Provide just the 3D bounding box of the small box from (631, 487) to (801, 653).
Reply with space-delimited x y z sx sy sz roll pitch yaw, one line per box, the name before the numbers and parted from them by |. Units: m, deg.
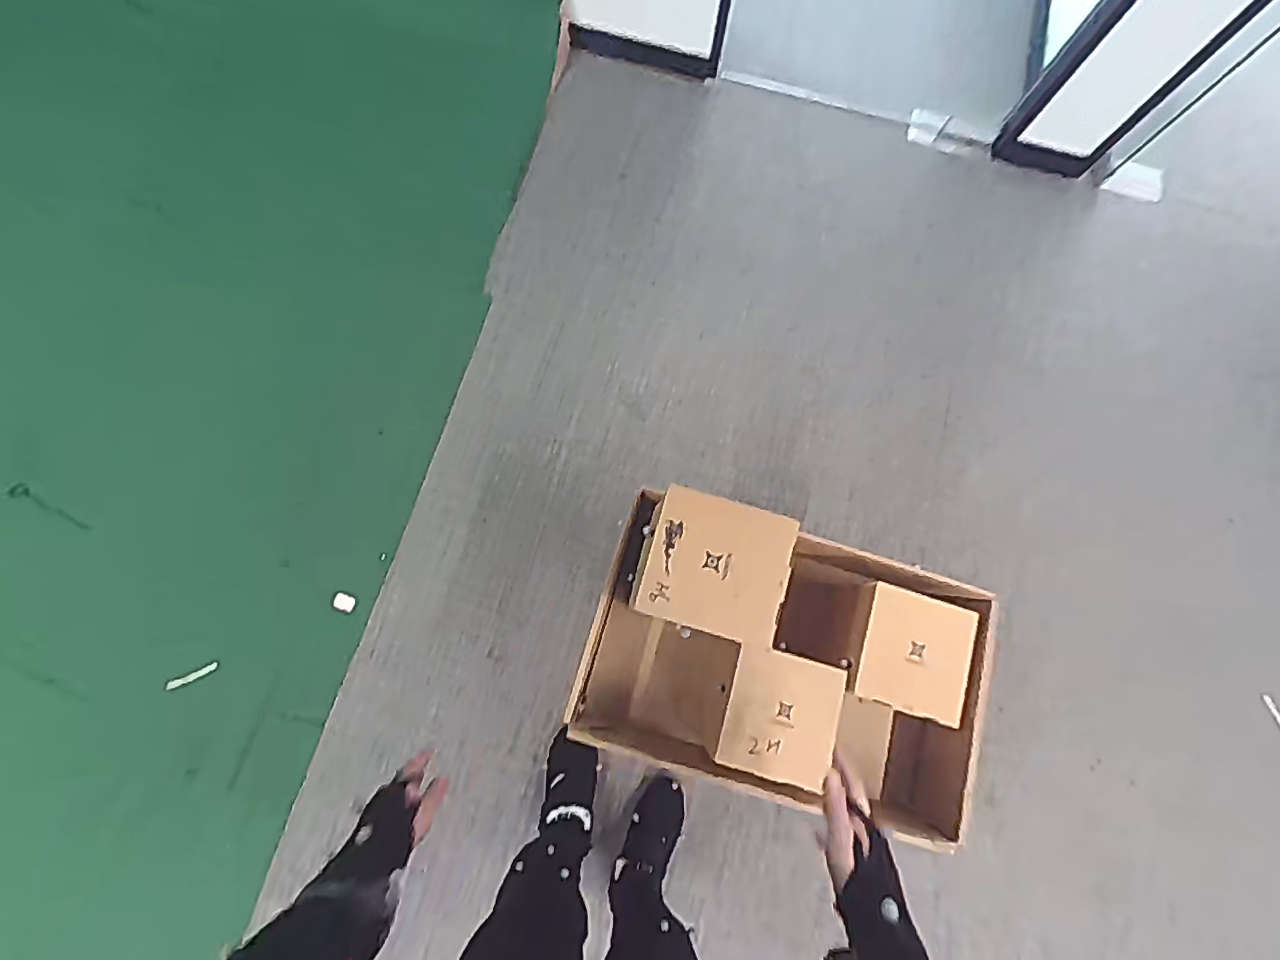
small box | 0.094 0.124 0.744 0.179 0.176 0.168 17 77 0
